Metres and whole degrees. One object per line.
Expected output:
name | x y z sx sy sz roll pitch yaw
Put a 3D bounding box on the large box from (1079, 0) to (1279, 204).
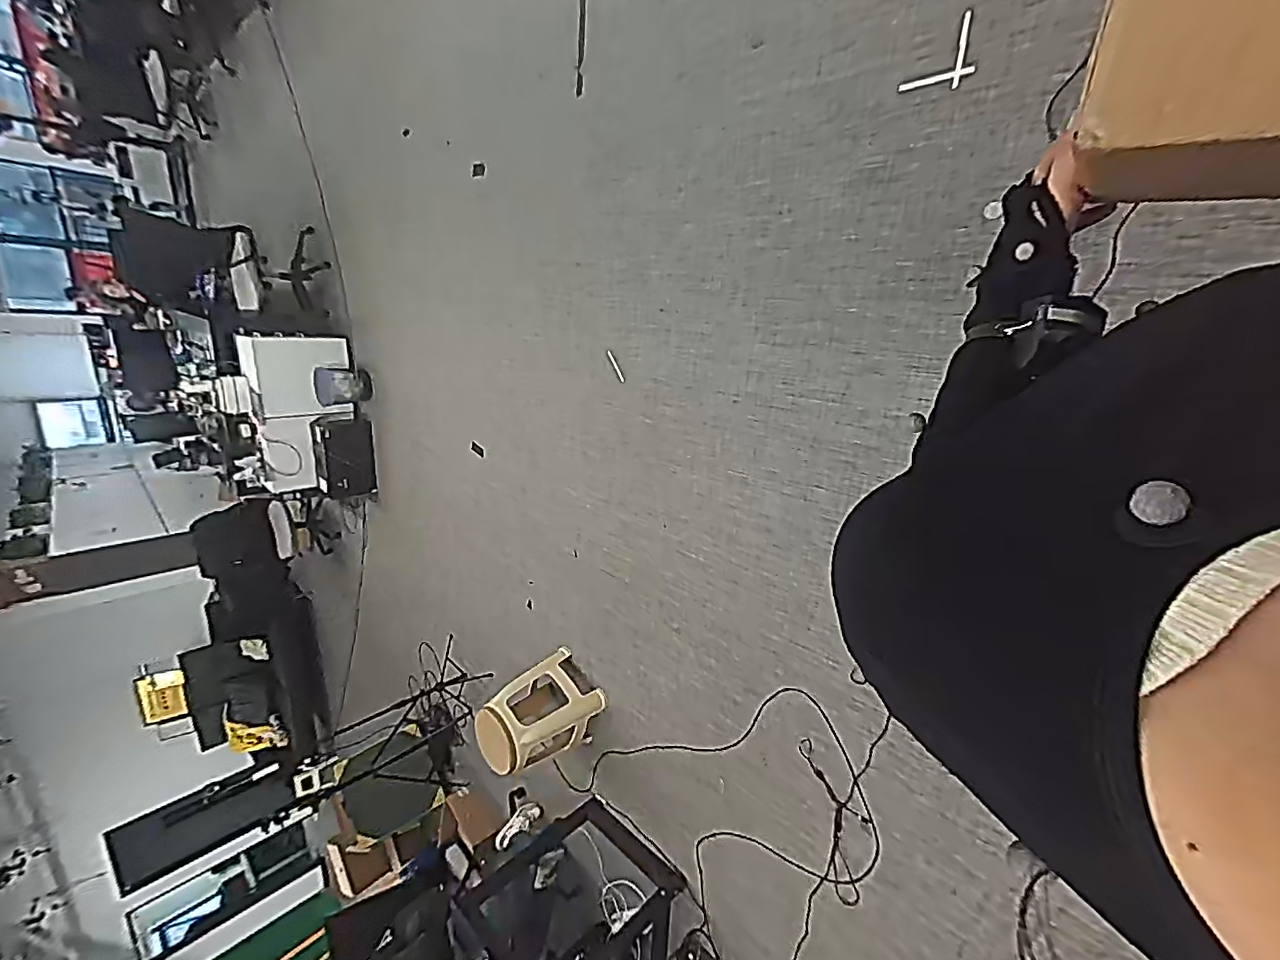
large box | 0.448 -0.294 0.194 0.408 0.320 0.320 16 118 33
